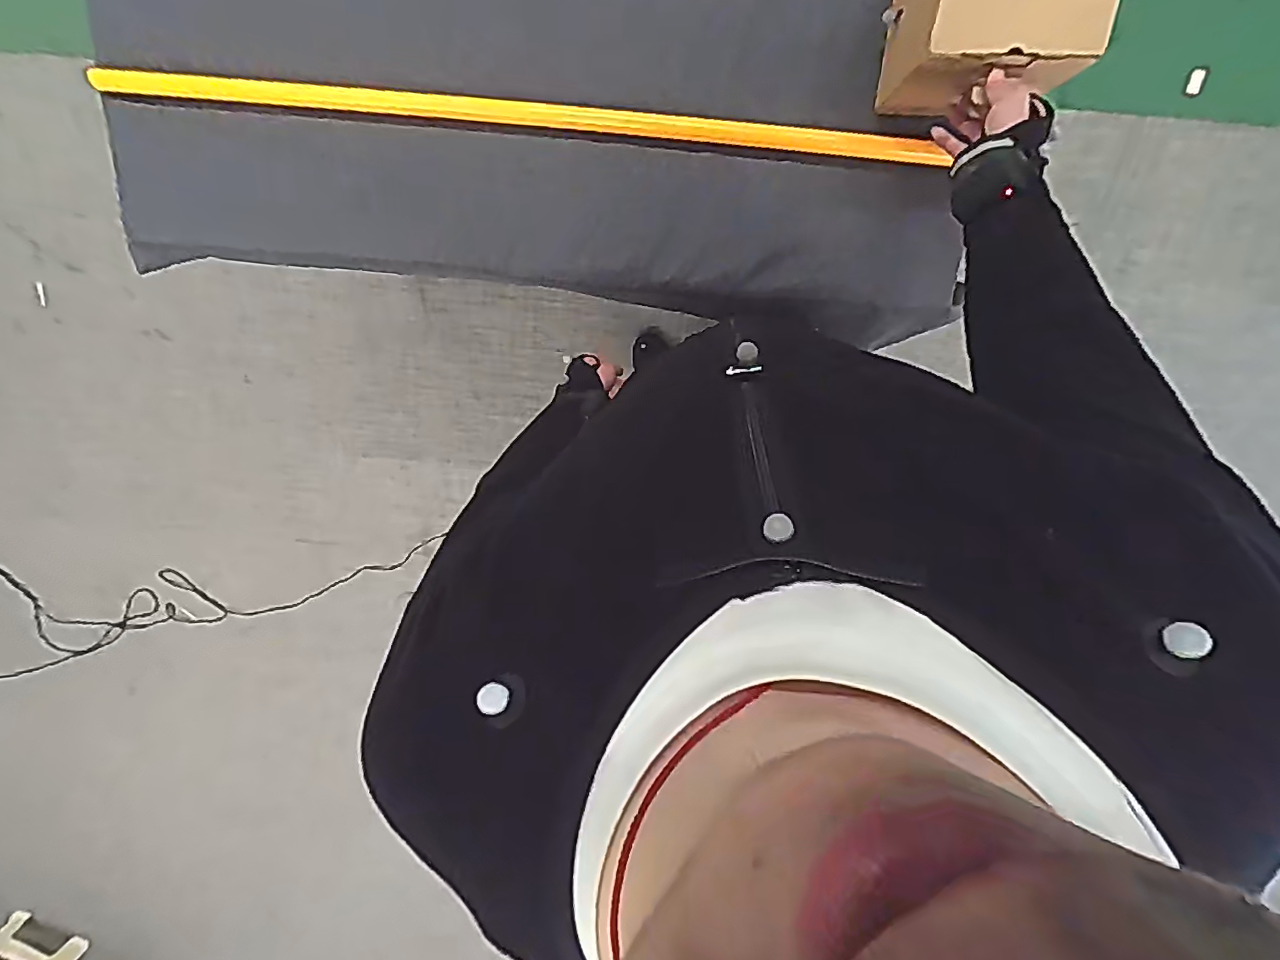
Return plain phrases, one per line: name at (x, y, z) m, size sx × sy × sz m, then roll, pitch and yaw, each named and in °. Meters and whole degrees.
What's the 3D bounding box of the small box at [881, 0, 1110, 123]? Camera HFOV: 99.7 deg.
small box at (0.380, -0.514, 0.594) m, size 0.168 × 0.176 × 0.179 m, roll 2°, pitch 106°, yaw 6°
